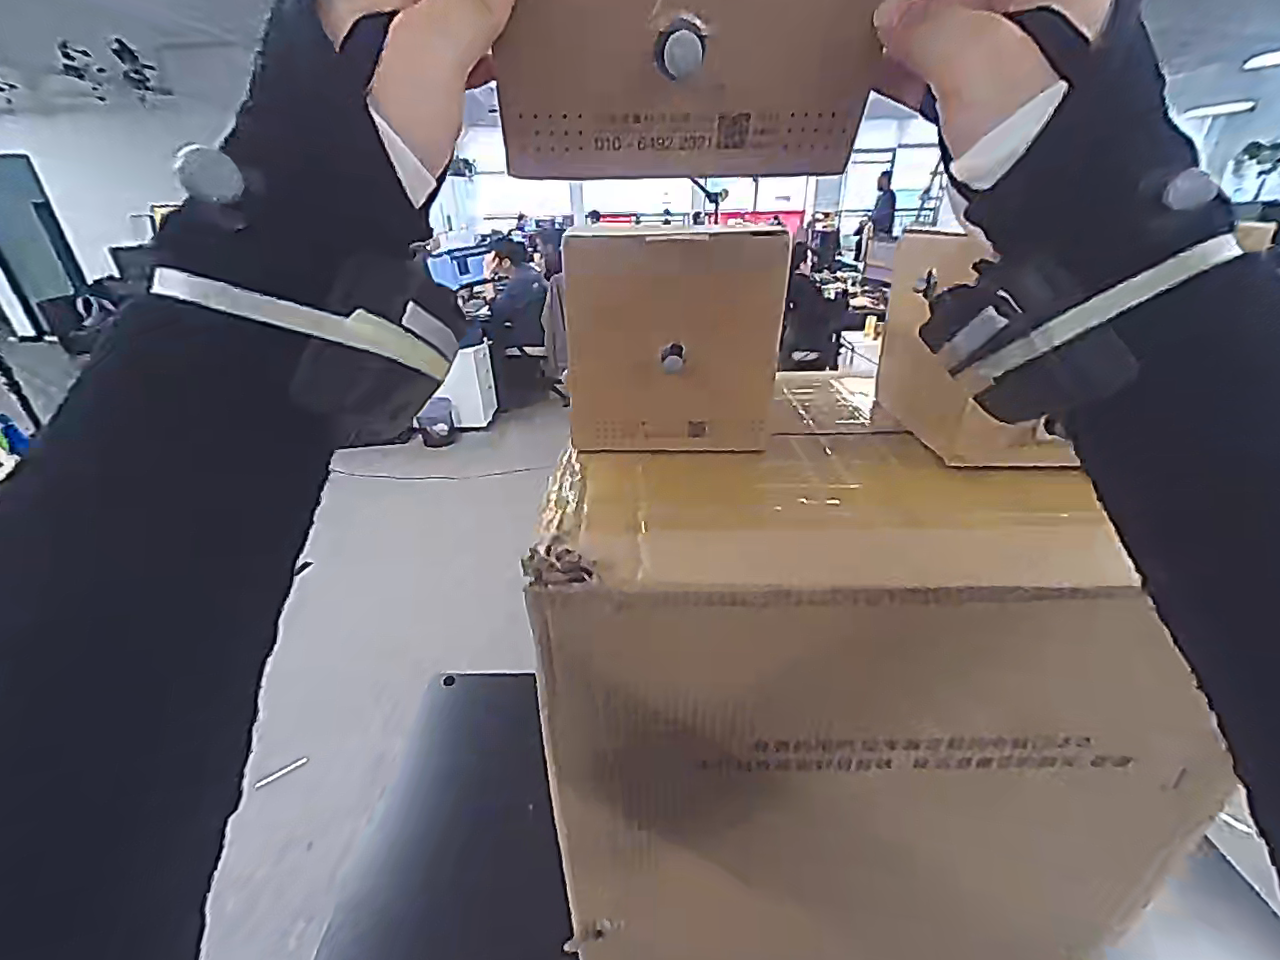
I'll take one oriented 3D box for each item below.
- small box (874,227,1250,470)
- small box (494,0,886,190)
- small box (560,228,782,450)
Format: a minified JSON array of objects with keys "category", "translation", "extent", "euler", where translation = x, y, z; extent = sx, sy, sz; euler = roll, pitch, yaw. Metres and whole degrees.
[{"category":"small box","translation":[0.318,-0.118,0.462],"extent":[0.168,0.176,0.179],"euler":[-2,27,3]},{"category":"small box","translation":[0.014,-0.264,0.265],"extent":[0.168,0.176,0.179],"euler":[-4,50,-6]},{"category":"small box","translation":[0.024,-0.134,0.500],"extent":[0.168,0.176,0.179],"euler":[0,27,0]}]
